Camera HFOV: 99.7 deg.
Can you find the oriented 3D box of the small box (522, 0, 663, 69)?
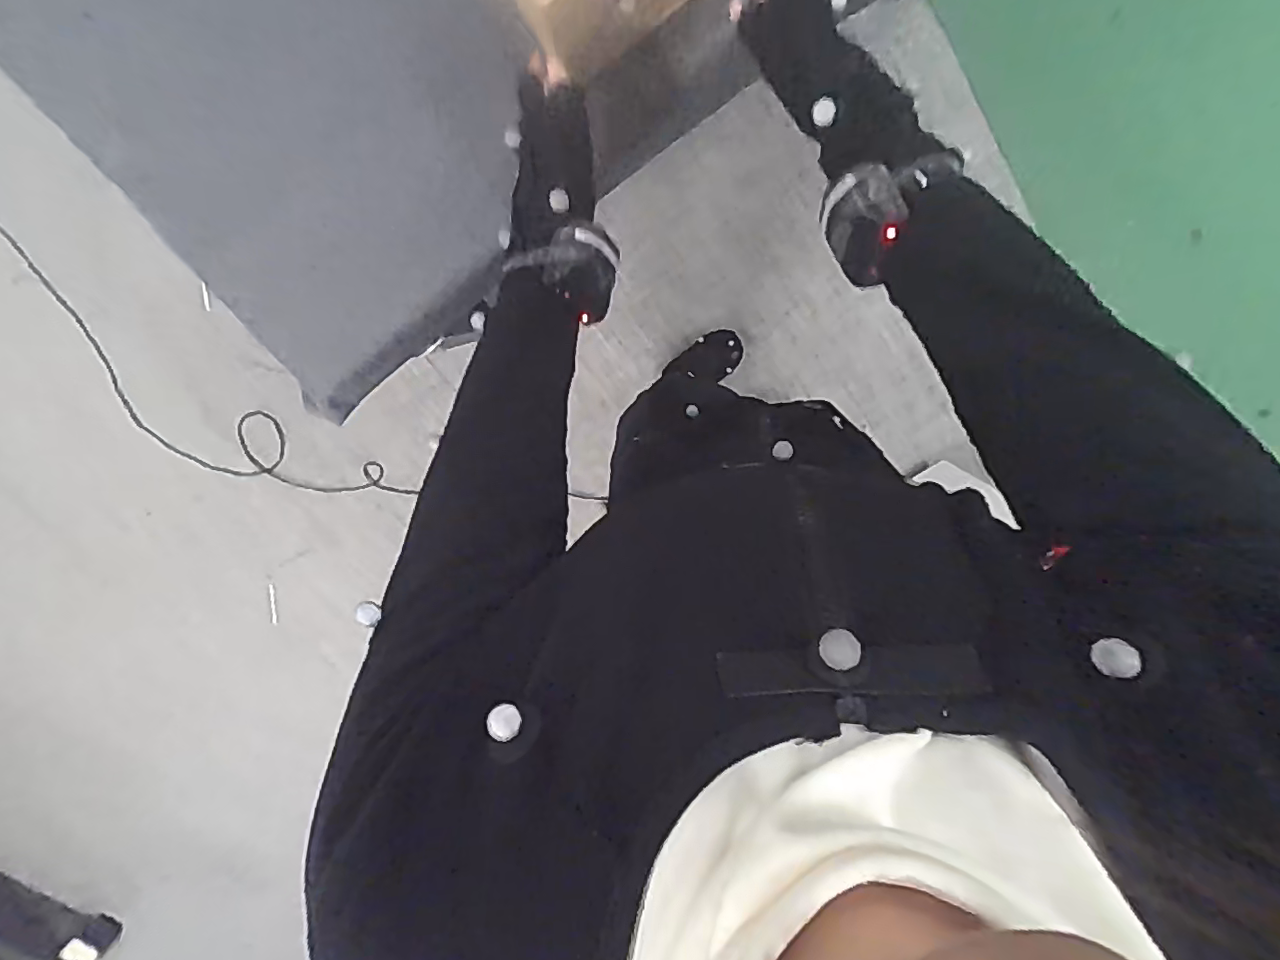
[{"bbox_3d":[-0.050,-0.488,0.436,0.179,0.176,0.168,-31,104,13],"label":"small box"}]
